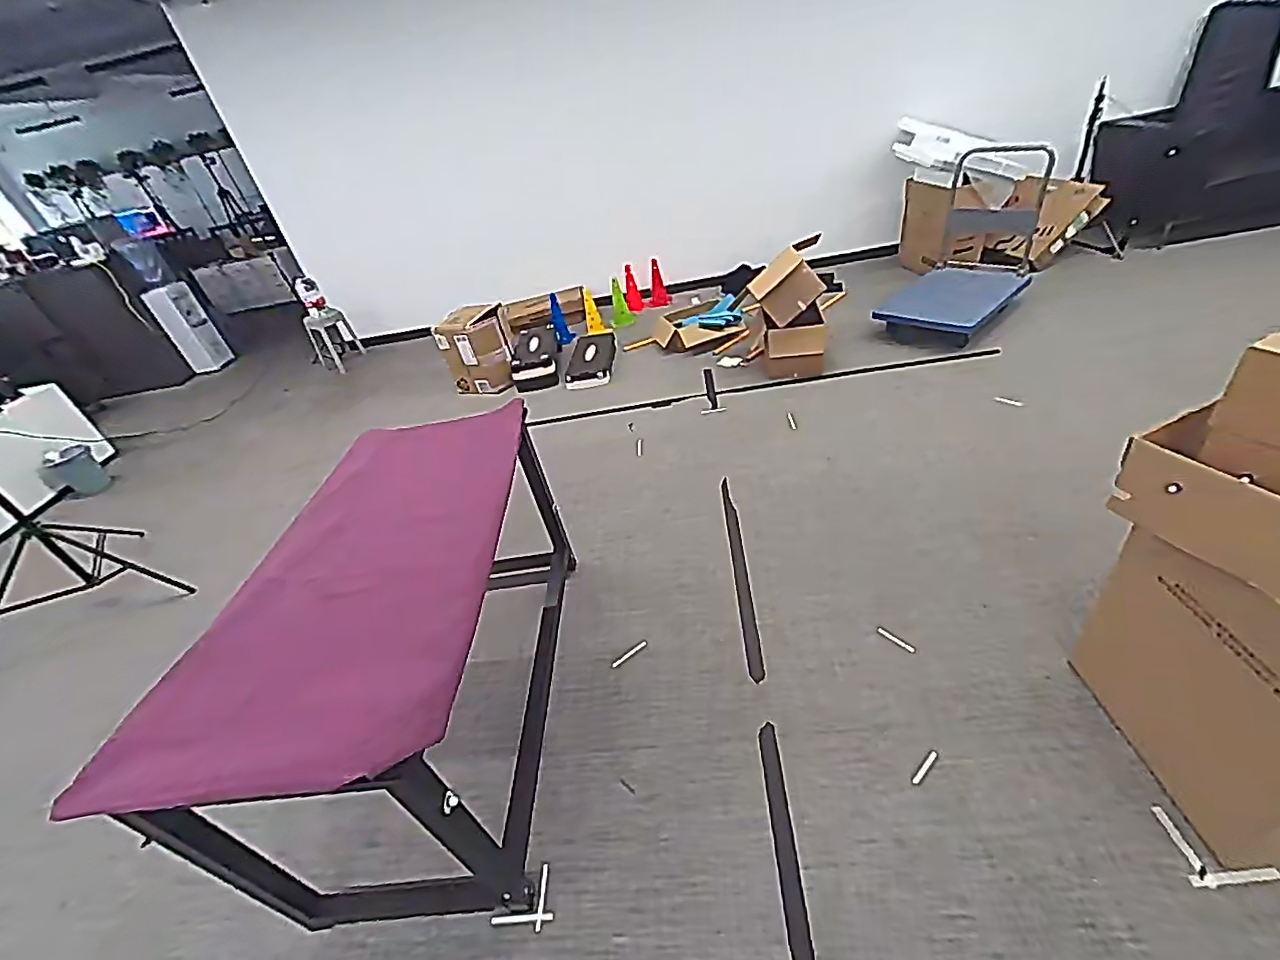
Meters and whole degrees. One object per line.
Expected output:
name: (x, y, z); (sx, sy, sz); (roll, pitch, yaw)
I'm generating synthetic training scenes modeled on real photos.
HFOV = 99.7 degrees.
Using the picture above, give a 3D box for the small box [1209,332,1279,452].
small box: (1.178, -0.152, 0.944); (0.168, 0.176, 0.179); (-24, 36, -13)
